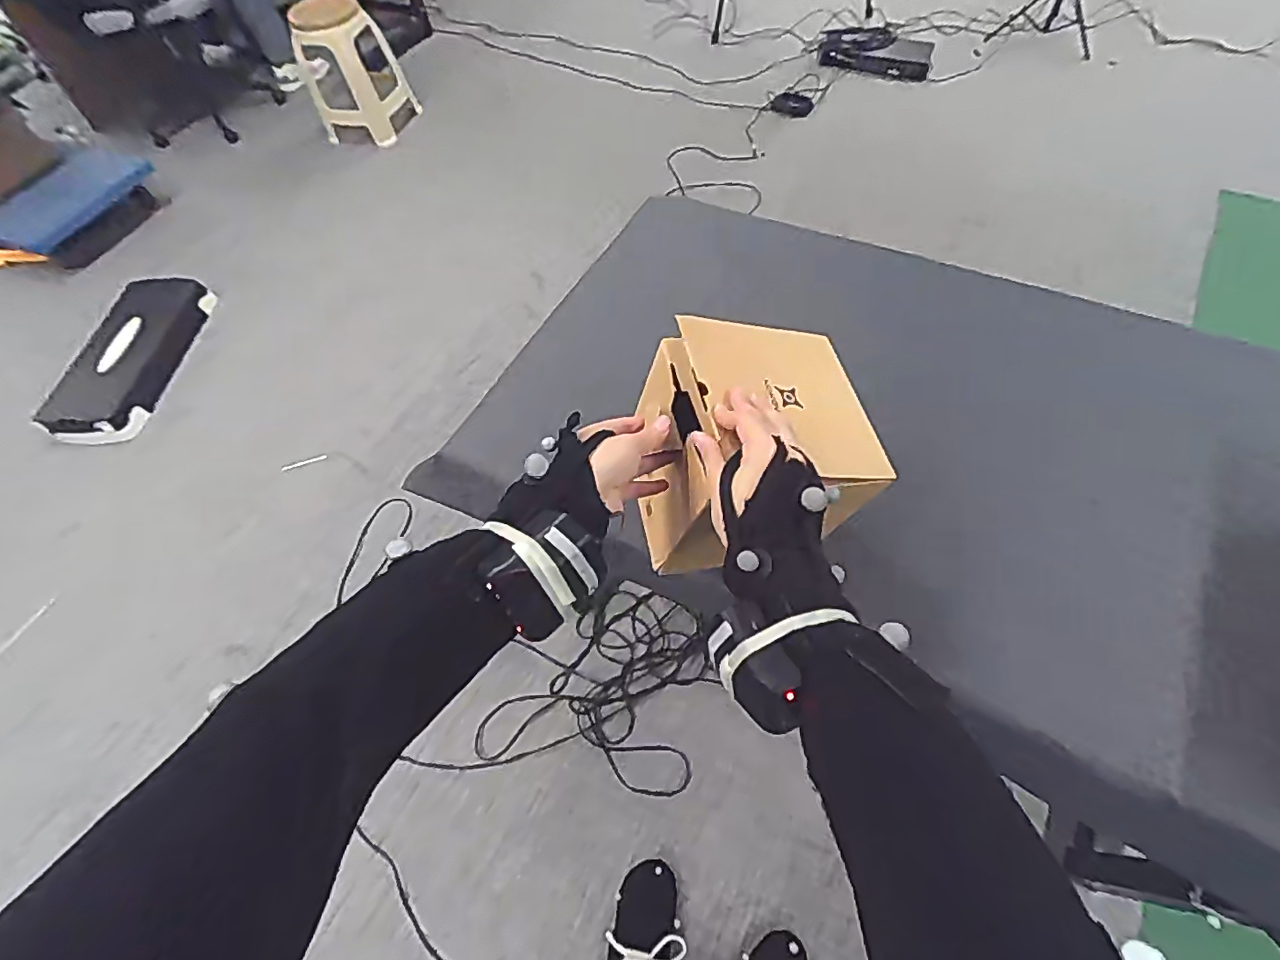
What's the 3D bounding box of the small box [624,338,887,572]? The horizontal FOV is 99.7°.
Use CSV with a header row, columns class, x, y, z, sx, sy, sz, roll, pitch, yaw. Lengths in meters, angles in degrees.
class,x,y,z,sx,sy,sz,roll,pitch,yaw
small box,0.096,-0.020,0.537,0.179,0.176,0.168,-5,61,-17
